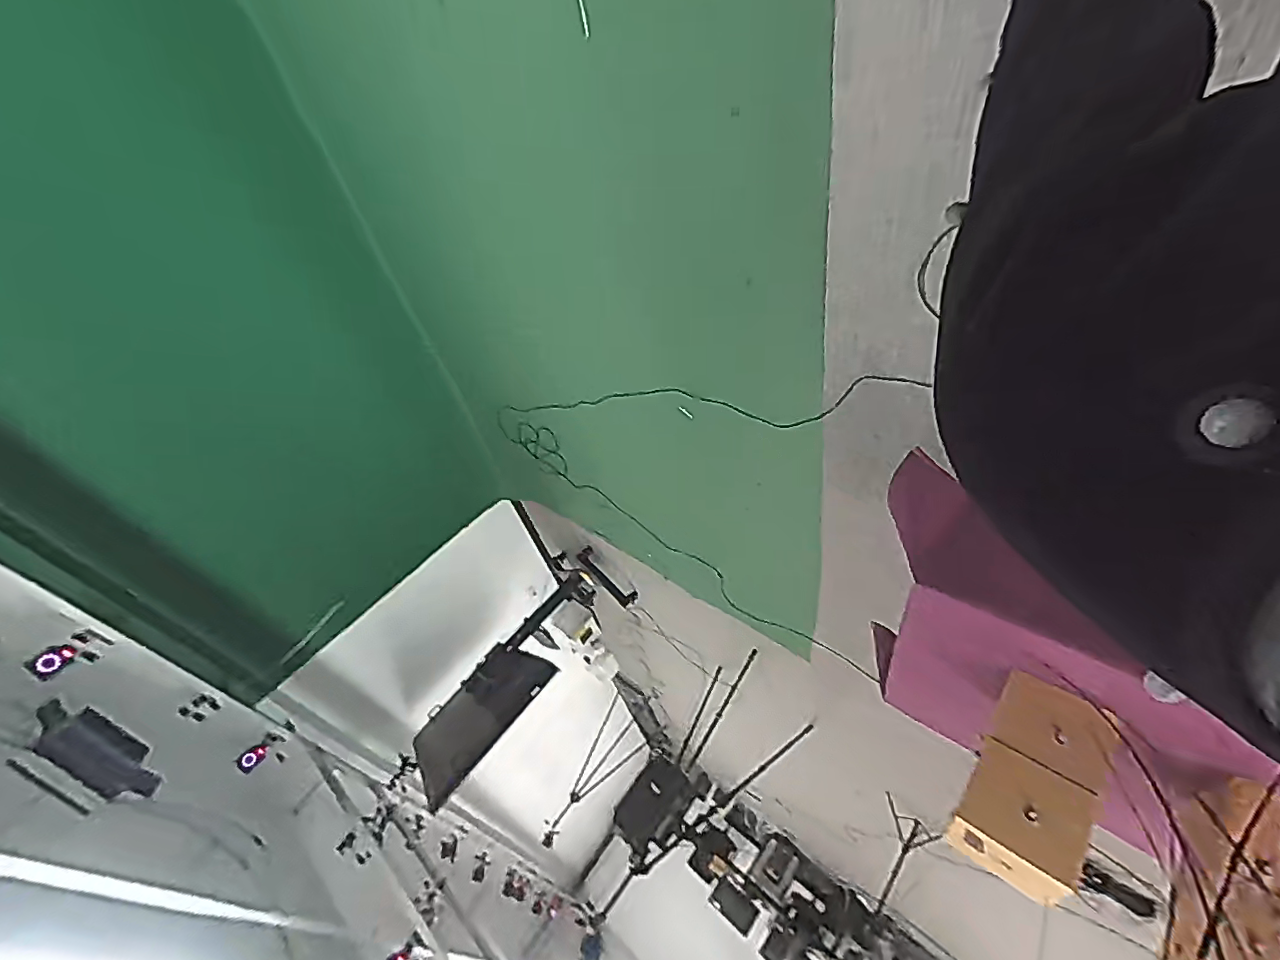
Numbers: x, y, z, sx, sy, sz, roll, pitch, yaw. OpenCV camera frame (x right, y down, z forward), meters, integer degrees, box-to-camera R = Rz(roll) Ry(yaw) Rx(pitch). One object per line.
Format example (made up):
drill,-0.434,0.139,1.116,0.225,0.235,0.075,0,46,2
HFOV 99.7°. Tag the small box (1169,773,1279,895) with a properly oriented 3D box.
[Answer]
small box,1.032,0.624,0.882,0.179,0.176,0.168,27,148,35

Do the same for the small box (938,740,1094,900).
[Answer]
small box,0.679,0.606,0.986,0.179,0.176,0.168,24,147,36

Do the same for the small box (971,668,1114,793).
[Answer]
small box,0.786,0.505,1.062,0.179,0.176,0.168,23,146,37

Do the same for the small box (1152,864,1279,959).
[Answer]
small box,0.922,0.723,0.814,0.168,0.176,0.179,27,149,36
